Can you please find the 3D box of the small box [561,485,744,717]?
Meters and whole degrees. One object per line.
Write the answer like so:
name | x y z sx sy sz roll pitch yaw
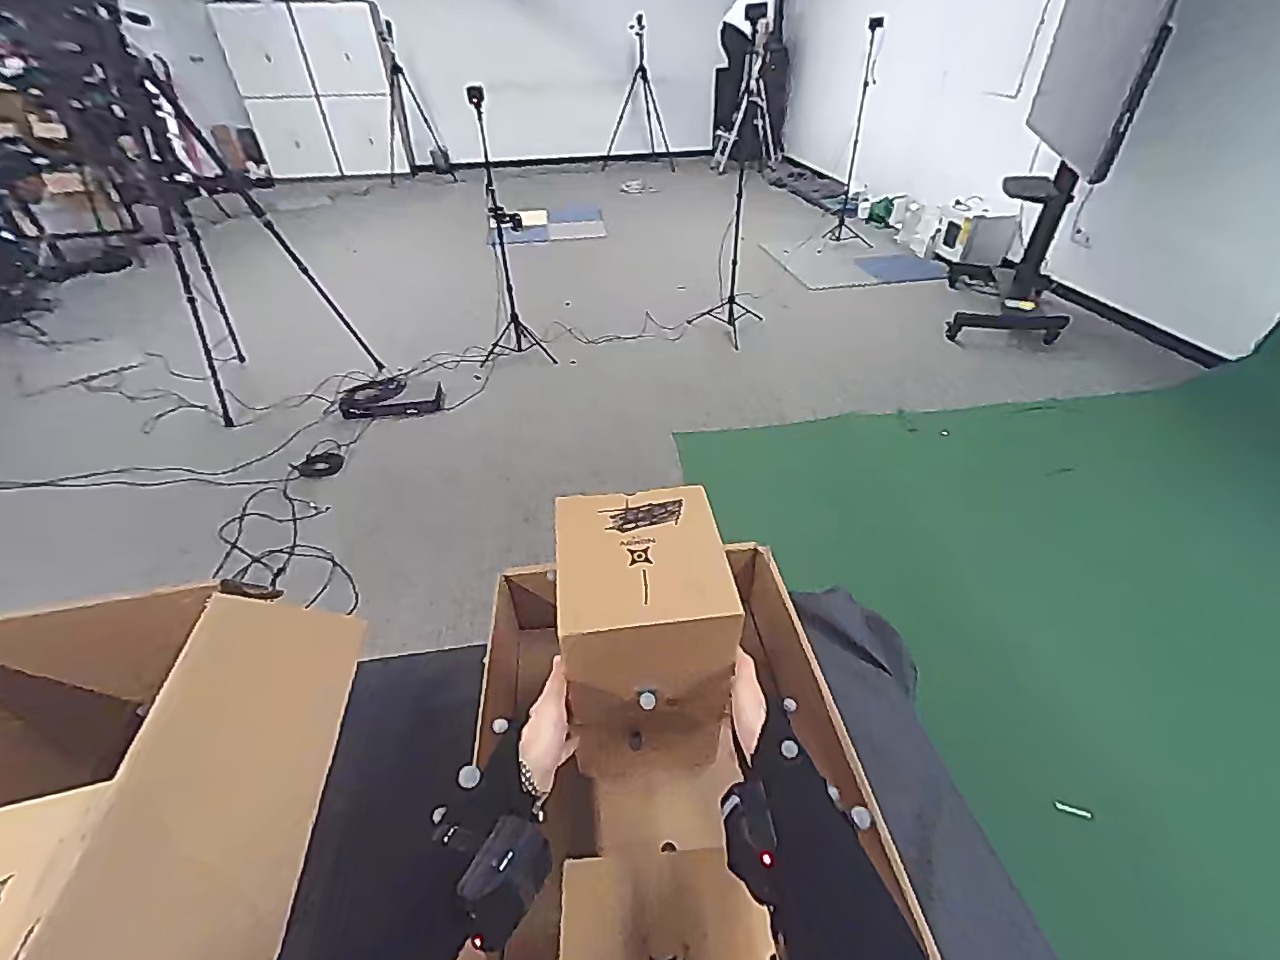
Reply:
small box | 0.003 0.129 0.587 0.168 0.176 0.179 -5 43 -5
